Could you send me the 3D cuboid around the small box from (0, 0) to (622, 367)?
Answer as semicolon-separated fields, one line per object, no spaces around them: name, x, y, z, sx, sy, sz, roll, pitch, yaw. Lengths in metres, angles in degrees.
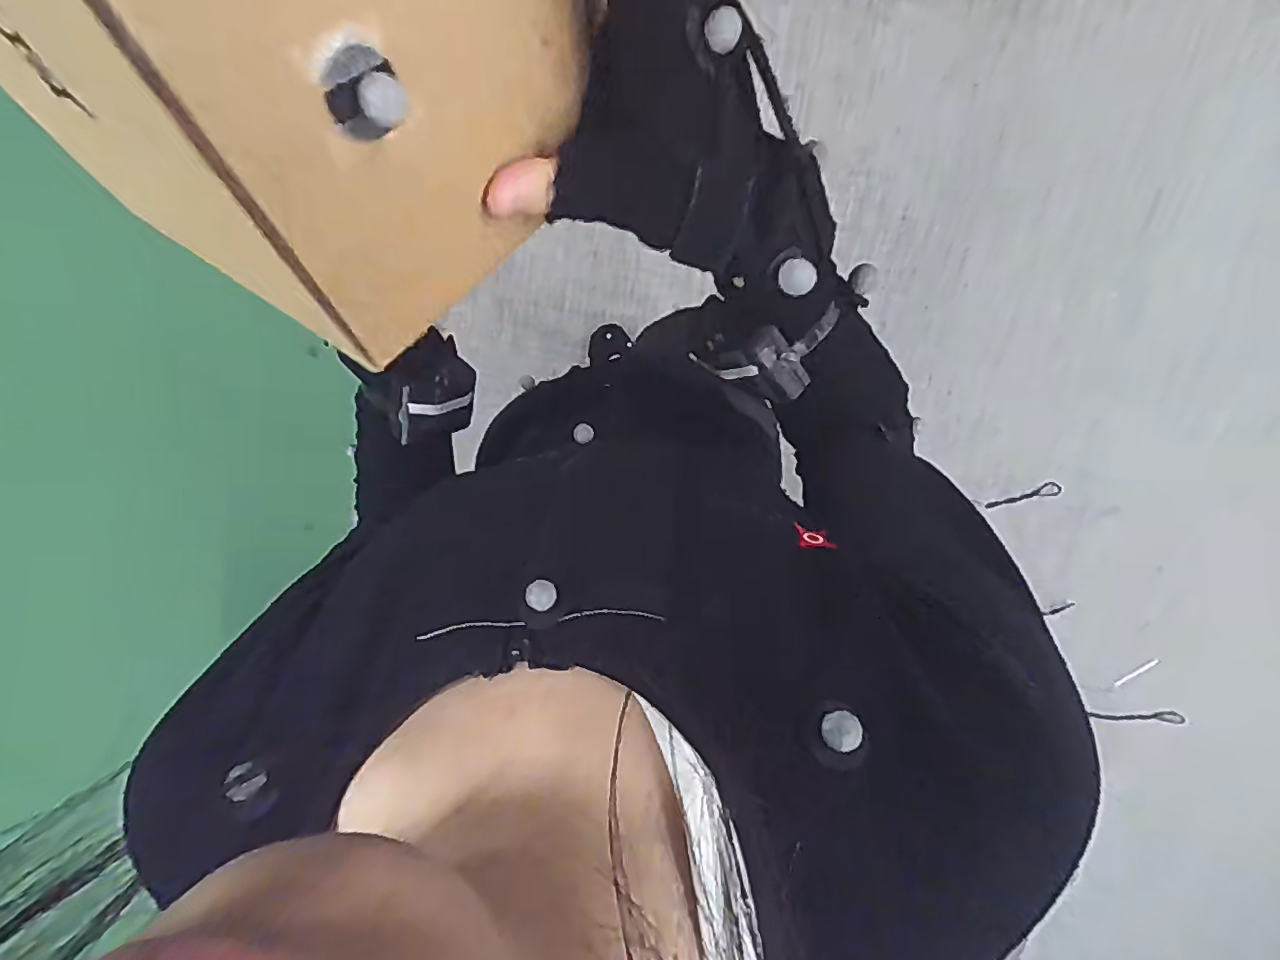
small box;-0.119;-0.181;0.183;0.168;0.179;0.176;32;68;17
